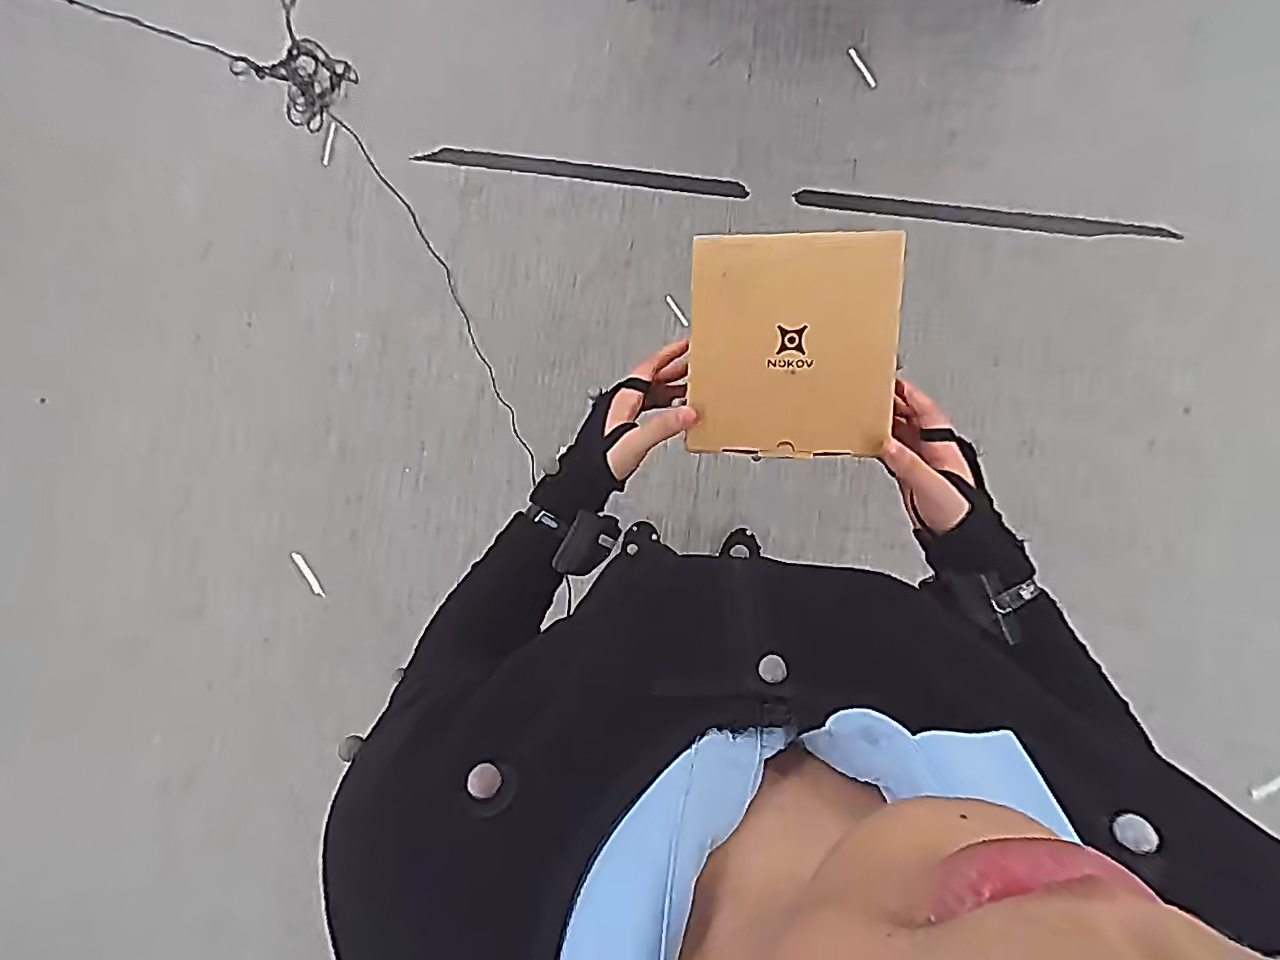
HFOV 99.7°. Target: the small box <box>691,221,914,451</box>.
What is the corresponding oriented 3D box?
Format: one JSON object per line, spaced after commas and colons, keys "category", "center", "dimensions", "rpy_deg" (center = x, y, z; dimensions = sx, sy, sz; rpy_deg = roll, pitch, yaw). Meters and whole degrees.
{"category": "small box", "center": [0.133, -0.120, 0.504], "dimensions": [0.168, 0.176, 0.179], "rpy_deg": [2, 96, 6]}
